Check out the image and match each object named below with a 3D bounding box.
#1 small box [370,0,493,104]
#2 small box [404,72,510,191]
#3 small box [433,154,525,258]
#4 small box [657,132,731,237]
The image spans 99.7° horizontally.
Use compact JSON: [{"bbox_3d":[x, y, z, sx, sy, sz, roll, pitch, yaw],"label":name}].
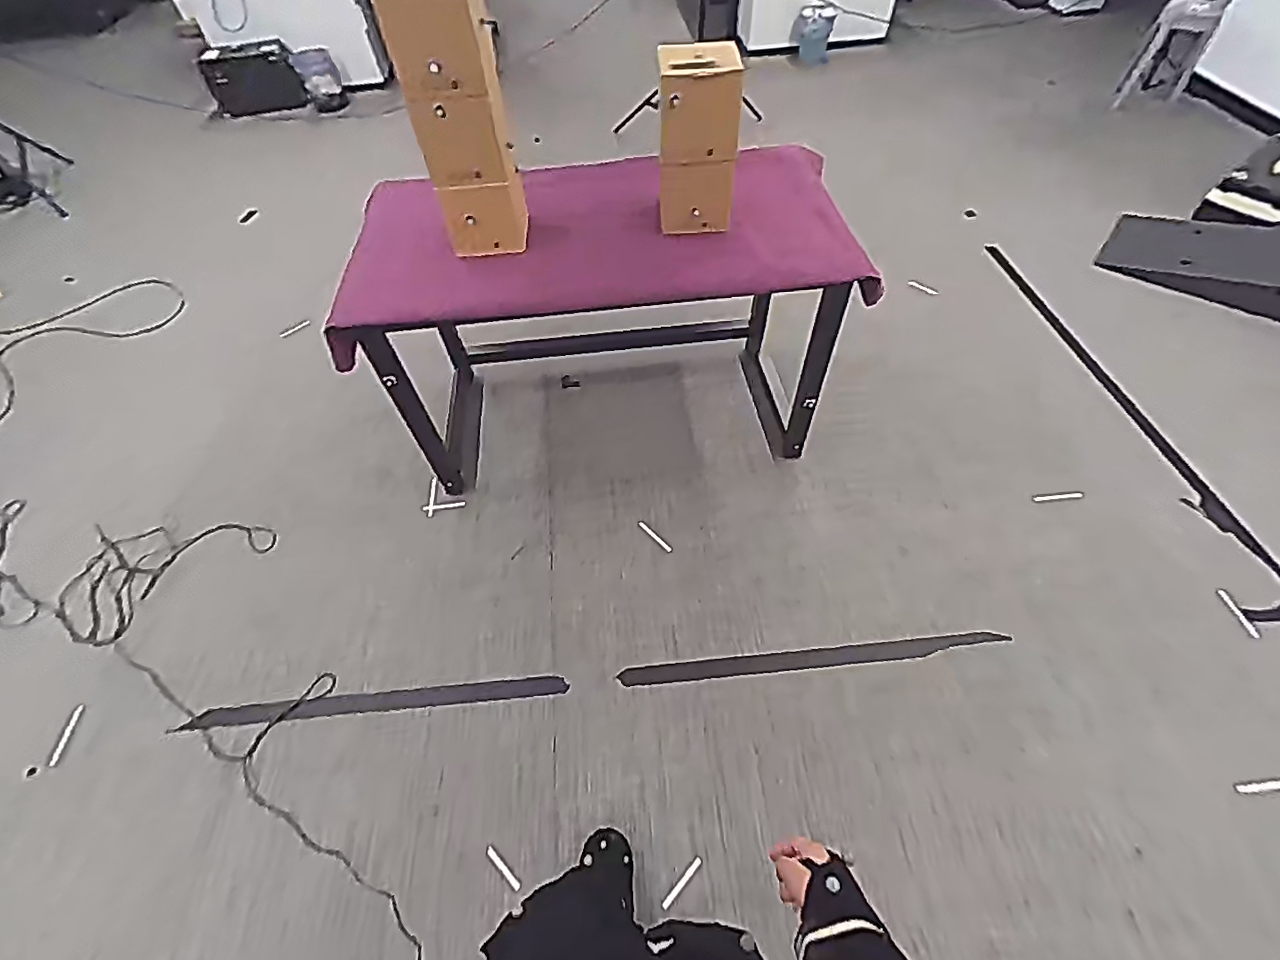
[{"bbox_3d":[-0.385,-0.845,1.028,0.168,0.176,0.179,-5,54,-1],"label":"small box"},{"bbox_3d":[-0.382,-0.749,1.163,0.168,0.176,0.179,-6,53,-1],"label":"small box"},{"bbox_3d":[-0.374,-0.648,1.292,0.168,0.176,0.179,-5,54,-1],"label":"small box"},{"bbox_3d":[0.124,-0.715,1.312,0.168,0.176,0.179,-2,54,2],"label":"small box"}]
